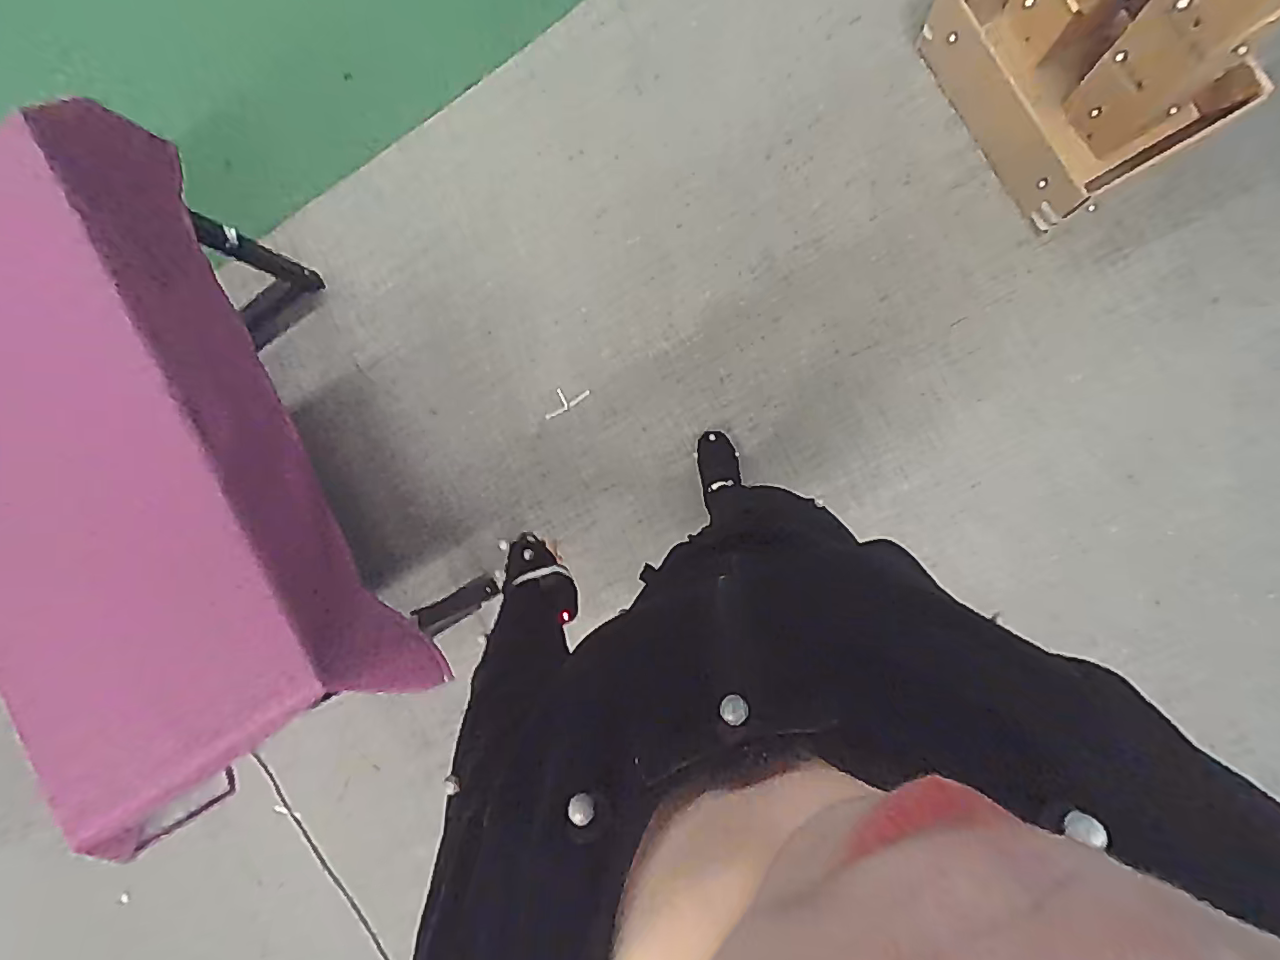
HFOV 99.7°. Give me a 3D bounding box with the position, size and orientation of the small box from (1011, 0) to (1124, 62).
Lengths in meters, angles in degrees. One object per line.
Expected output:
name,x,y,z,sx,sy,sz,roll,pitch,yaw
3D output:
small box,0.985,-1.114,1.226,0.179,0.176,0.168,-25,87,9

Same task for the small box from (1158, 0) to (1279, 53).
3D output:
small box,1.027,-0.871,0.884,0.179,0.176,0.168,-33,83,10

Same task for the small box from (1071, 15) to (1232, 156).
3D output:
small box,1.113,-0.873,1.201,0.179,0.176,0.168,-29,84,10
